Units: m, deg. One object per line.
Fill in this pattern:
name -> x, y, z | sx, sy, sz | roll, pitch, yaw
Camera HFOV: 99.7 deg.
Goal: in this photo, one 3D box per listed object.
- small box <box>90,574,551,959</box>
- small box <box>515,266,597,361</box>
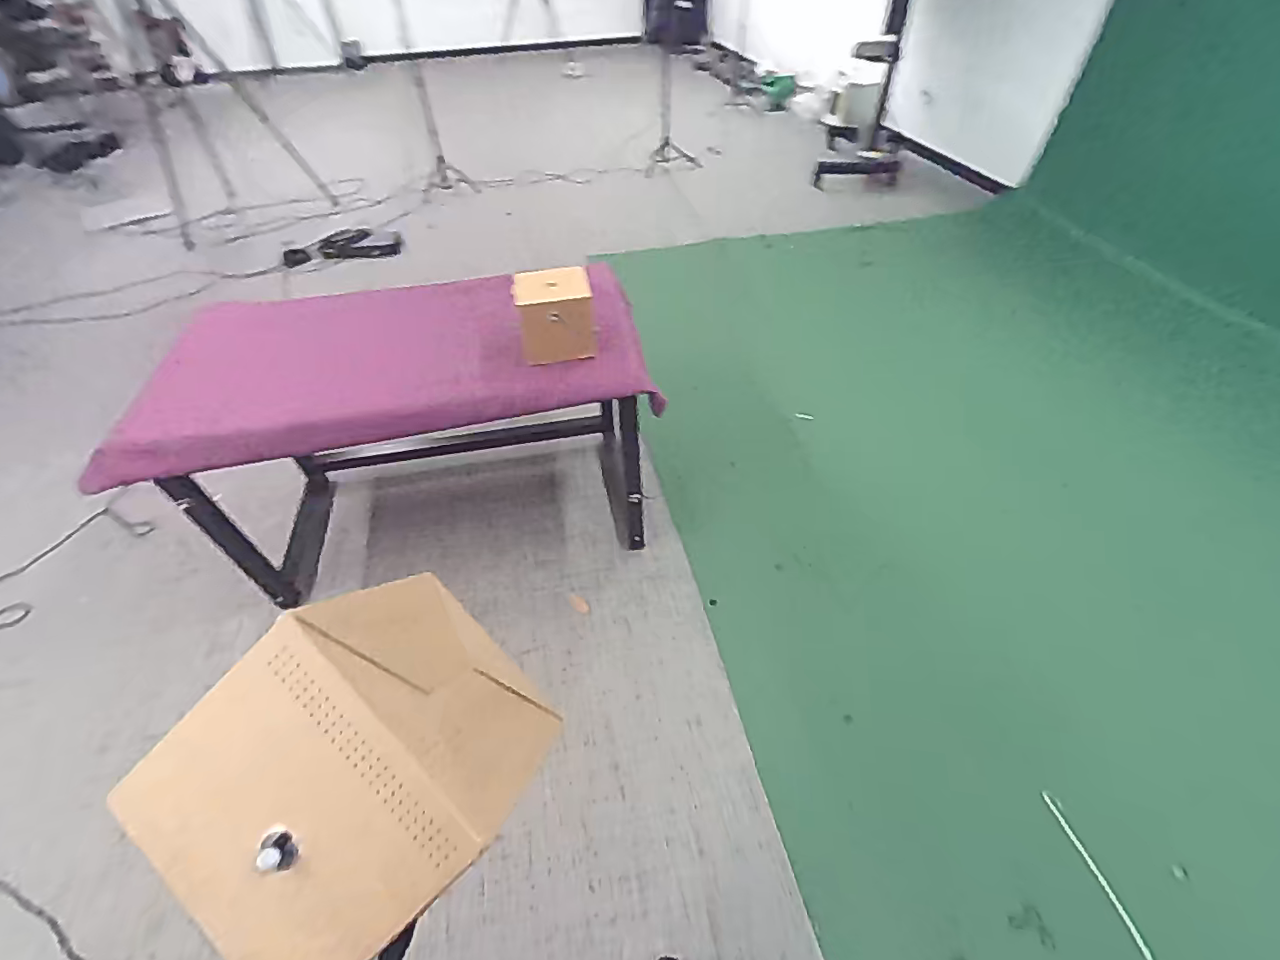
small box -> -0.193, 0.188, 0.378 | 0.179, 0.168, 0.176 | 44, 93, 6
small box -> -0.206, -0.410, 1.344 | 0.179, 0.176, 0.168 | -8, 46, -6
